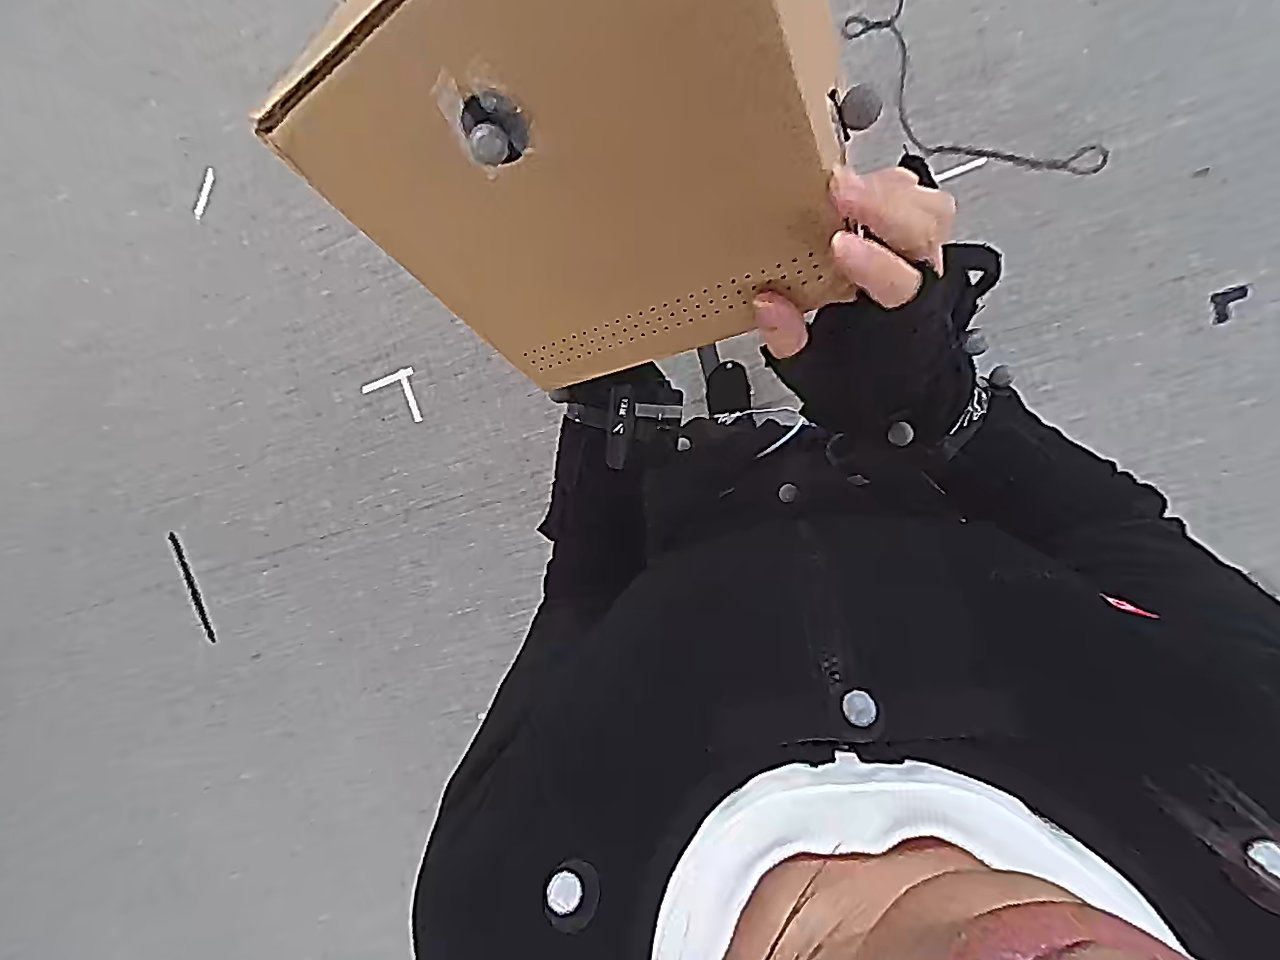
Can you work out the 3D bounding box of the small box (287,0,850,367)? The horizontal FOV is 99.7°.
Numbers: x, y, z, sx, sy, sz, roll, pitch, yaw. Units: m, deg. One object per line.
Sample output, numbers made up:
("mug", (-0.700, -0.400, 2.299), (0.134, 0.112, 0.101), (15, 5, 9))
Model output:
("small box", (-0.013, -0.179, 0.259), (0.179, 0.176, 0.168), (-11, 59, 30))
